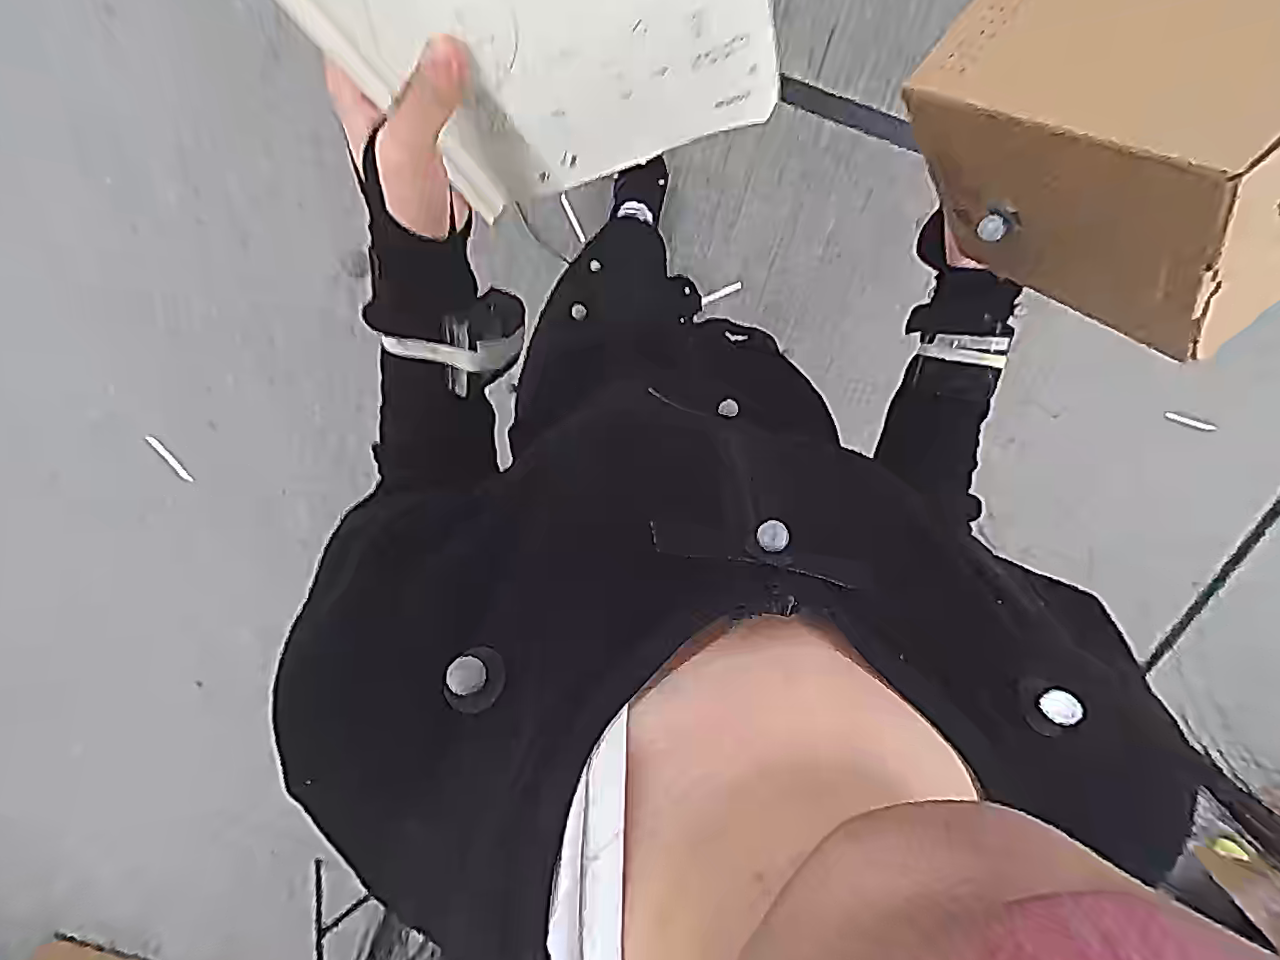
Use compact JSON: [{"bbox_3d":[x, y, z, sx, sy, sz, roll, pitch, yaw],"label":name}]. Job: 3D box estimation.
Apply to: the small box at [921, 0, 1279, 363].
[{"bbox_3d":[0.288,-0.201,0.275,0.179,0.176,0.168,-48,139,17],"label":"small box"}]
